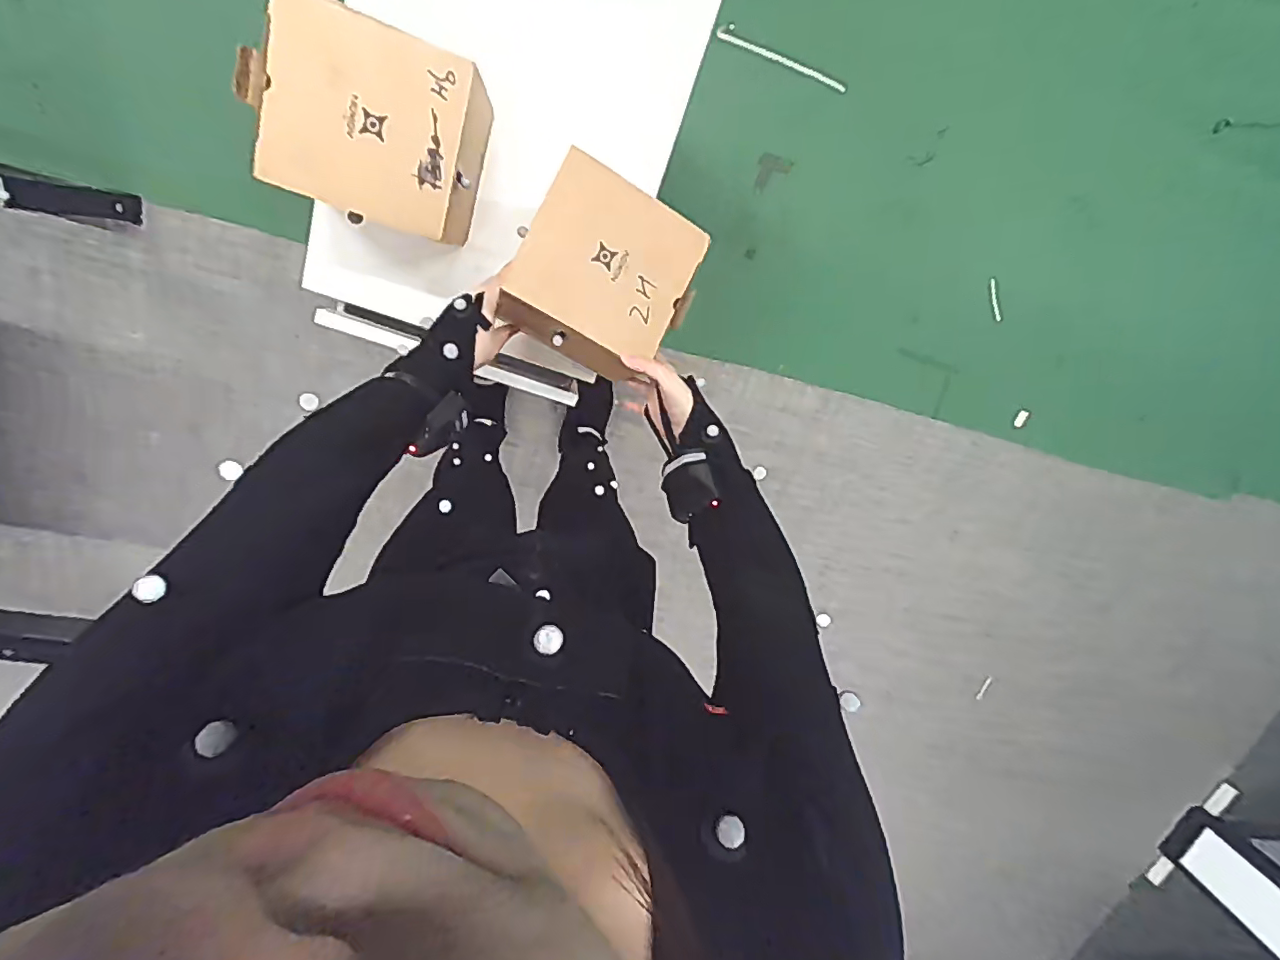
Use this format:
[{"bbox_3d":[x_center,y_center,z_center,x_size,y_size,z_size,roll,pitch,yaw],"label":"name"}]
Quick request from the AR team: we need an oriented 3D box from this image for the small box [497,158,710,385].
[{"bbox_3d":[-0.055,-0.220,0.633,0.179,0.176,0.168,27,89,-18],"label":"small box"}]
